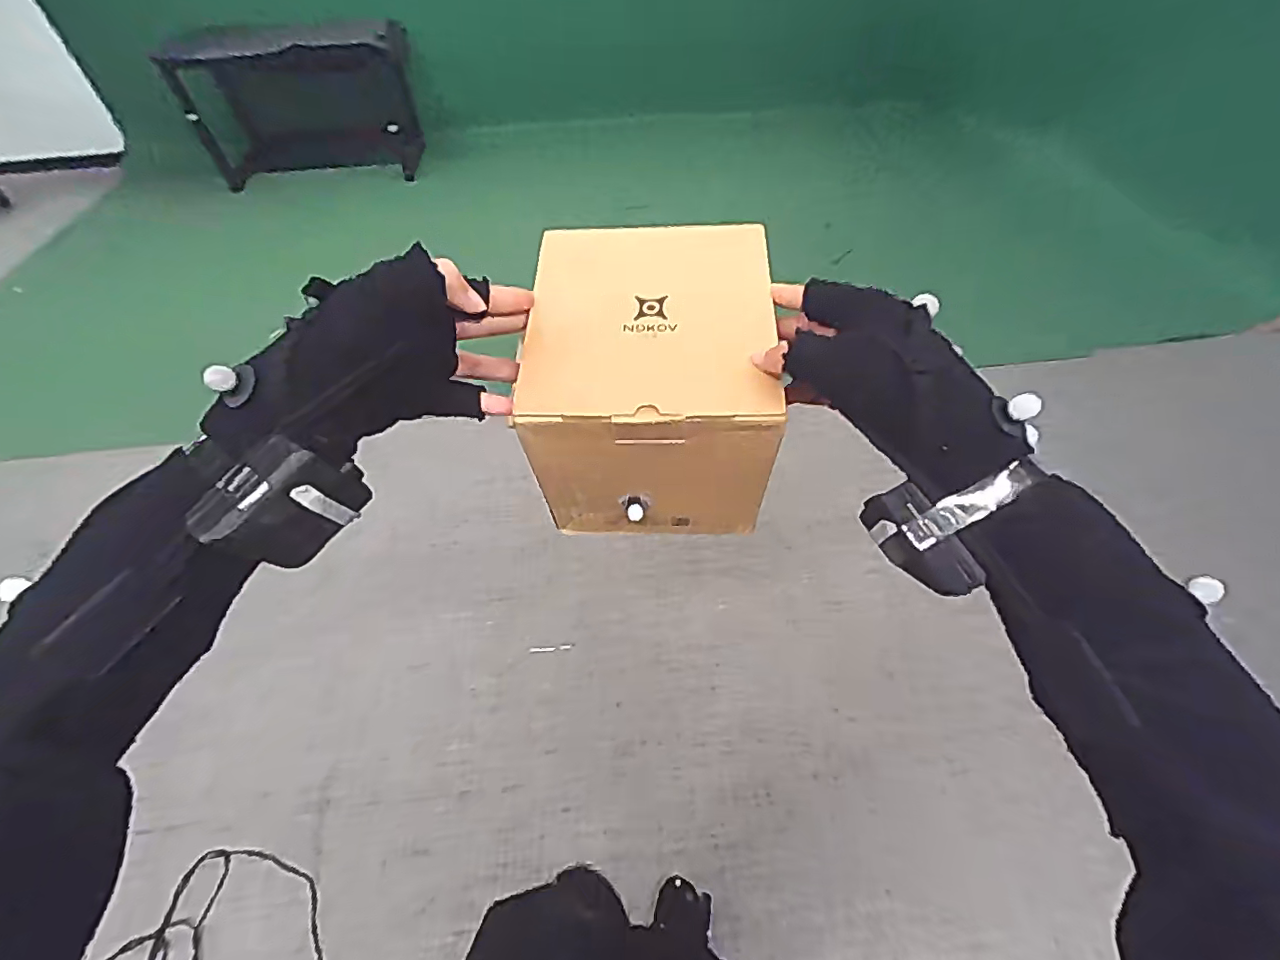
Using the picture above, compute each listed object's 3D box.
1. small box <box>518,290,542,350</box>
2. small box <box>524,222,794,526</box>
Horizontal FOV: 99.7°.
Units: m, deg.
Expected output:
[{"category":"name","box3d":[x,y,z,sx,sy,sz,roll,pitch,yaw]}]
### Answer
[{"category":"small box","box3d":[-0.359,-0.605,2.064,0.168,0.176,0.179,-4,49,1]},{"category":"small box","box3d":[0.015,-0.078,0.434,0.168,0.176,0.179,0,62,2]}]
